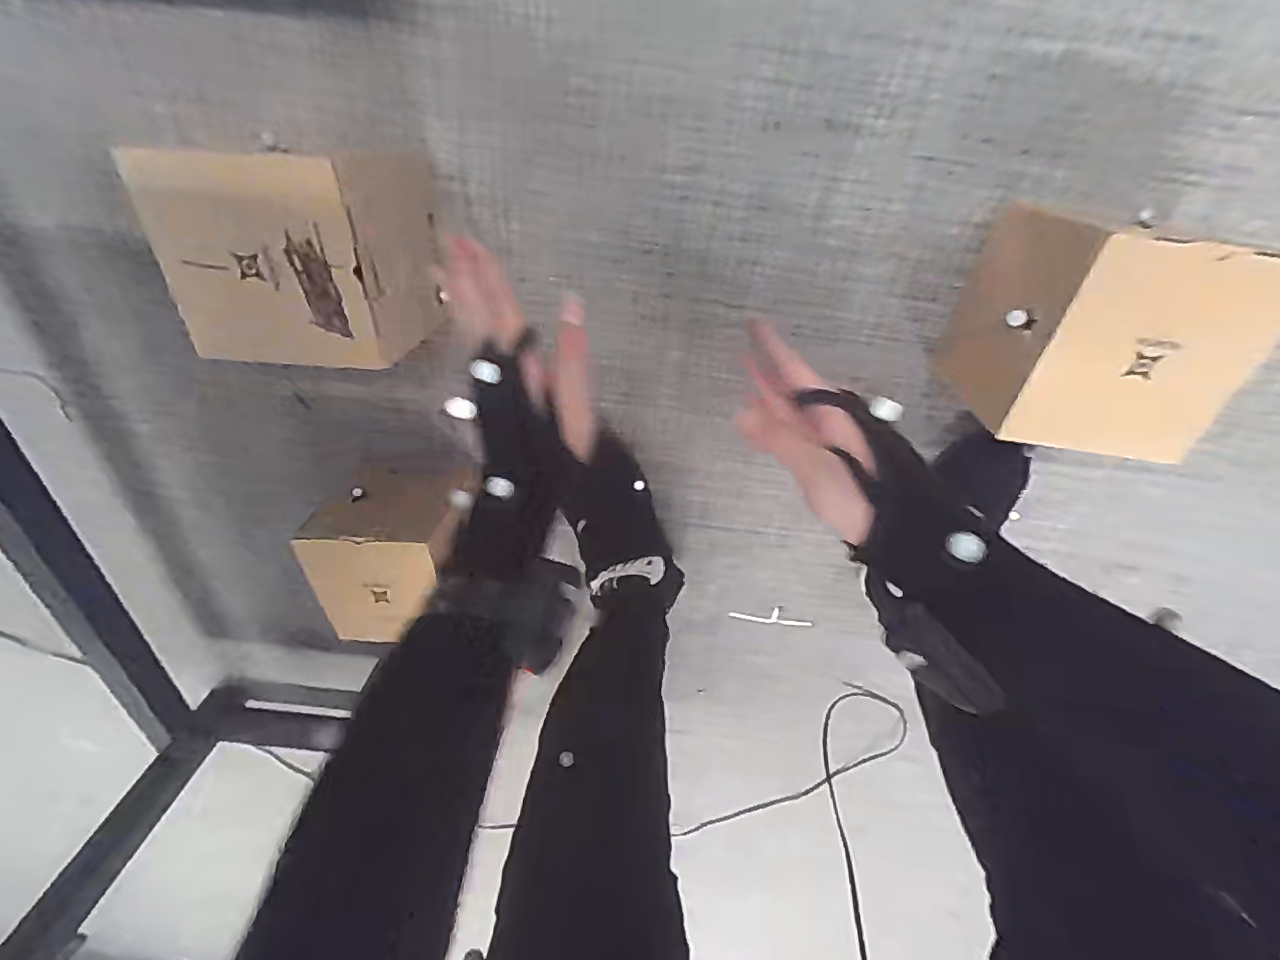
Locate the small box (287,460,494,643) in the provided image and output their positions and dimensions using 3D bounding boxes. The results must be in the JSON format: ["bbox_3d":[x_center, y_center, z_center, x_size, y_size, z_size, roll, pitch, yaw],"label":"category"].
[{"bbox_3d":[-0.304,0.087,0.705,0.168,0.176,0.179,2,124,5],"label":"small box"}]

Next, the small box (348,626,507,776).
[{"bbox_3d":[-0.326,0.352,0.878,0.179,0.176,0.168,-1,123,5],"label":"small box"}]

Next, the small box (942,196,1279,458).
[{"bbox_3d":[0.411,-0.146,0.497,0.168,0.176,0.179,8,123,-1],"label":"small box"}]

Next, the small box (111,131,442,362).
[{"bbox_3d":[-0.300,-0.221,0.502,0.179,0.176,0.168,5,123,3],"label":"small box"}]
